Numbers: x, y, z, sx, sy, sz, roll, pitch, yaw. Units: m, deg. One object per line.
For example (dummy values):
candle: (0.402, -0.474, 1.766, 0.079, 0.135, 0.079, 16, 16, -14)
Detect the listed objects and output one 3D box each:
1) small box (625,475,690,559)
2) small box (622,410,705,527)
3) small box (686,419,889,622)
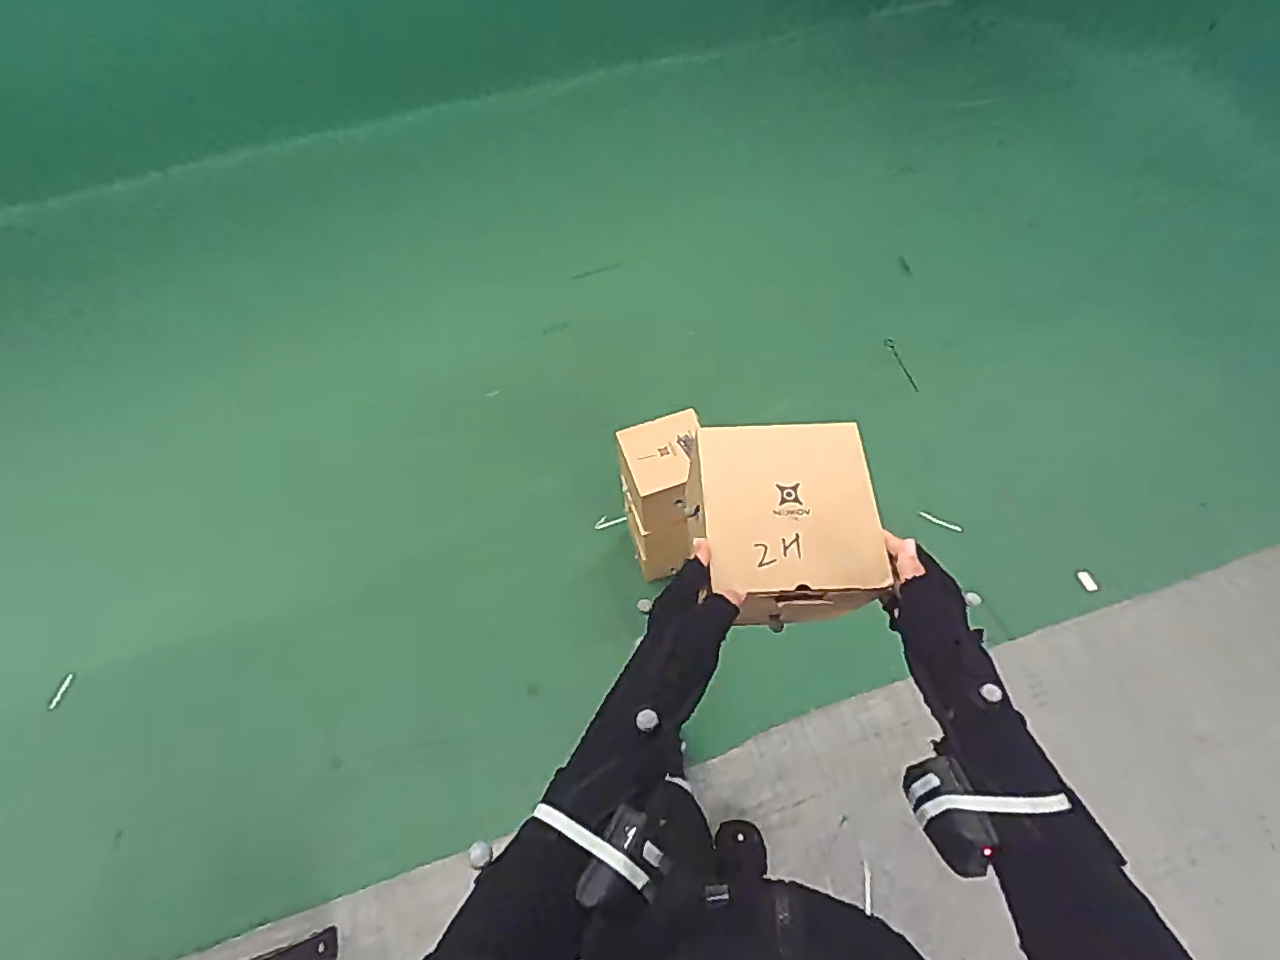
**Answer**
small box: (0.074, 0.070, 1.304, 0.179, 0.176, 0.168, -17, 62, -6)
small box: (0.067, -0.022, 1.165, 0.179, 0.176, 0.168, -15, 59, -6)
small box: (0.141, 0.051, 0.592, 0.168, 0.176, 0.179, -2, 66, 0)
